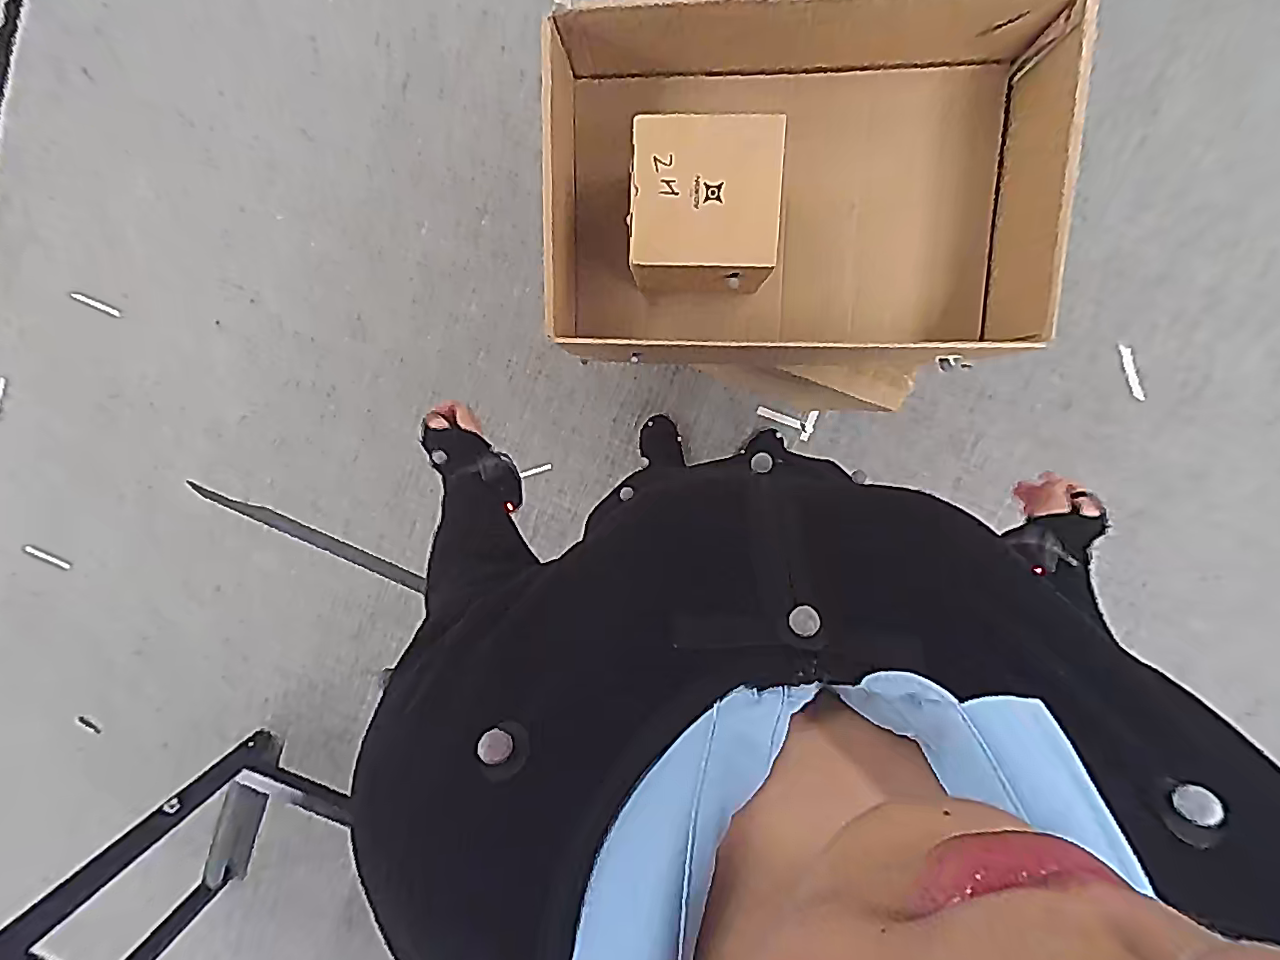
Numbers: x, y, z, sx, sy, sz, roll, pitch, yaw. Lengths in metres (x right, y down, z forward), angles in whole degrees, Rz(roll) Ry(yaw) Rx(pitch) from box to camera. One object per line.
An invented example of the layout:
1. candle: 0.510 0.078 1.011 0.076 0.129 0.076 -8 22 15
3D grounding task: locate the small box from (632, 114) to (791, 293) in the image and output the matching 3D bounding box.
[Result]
1. small box: 0.086 -0.346 0.705 0.179 0.176 0.168 3 99 4
